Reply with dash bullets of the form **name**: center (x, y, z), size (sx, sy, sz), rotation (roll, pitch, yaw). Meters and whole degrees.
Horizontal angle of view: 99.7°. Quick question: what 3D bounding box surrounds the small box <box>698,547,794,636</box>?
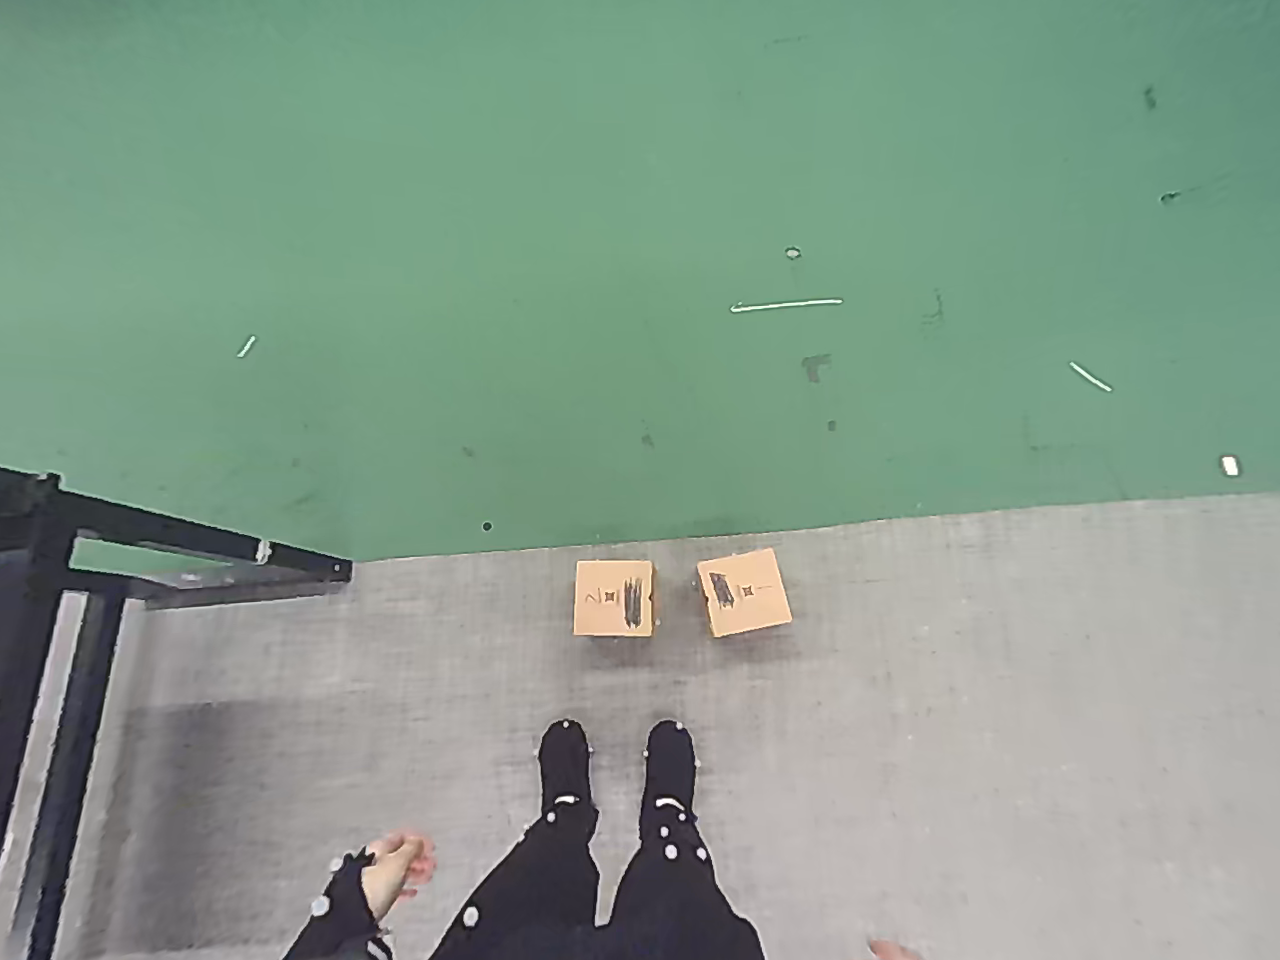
- **small box**: center (0.234, 0.262, 1.242), size (0.179, 0.176, 0.168), rotation (-12, 73, 0)
